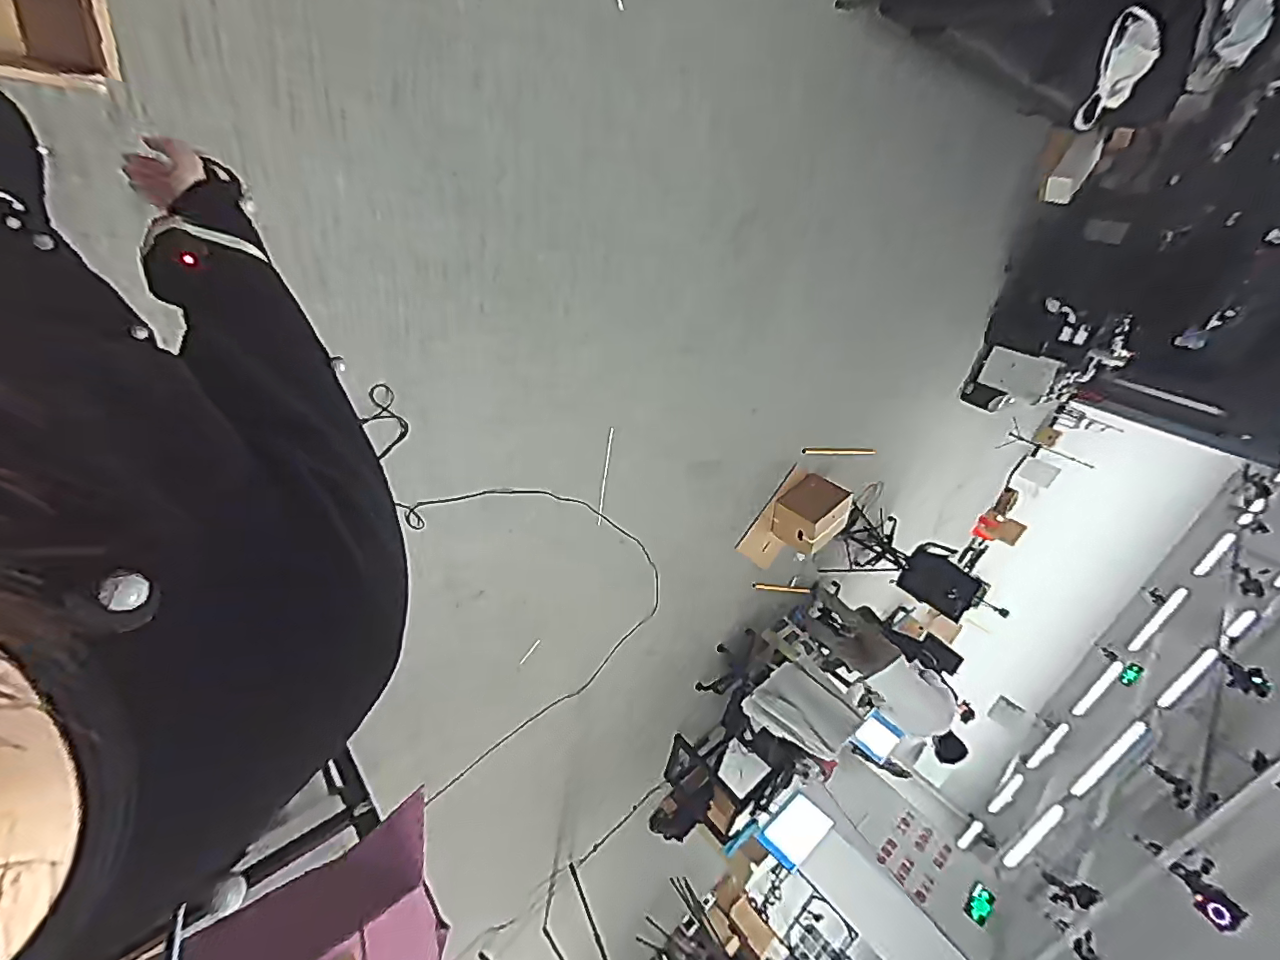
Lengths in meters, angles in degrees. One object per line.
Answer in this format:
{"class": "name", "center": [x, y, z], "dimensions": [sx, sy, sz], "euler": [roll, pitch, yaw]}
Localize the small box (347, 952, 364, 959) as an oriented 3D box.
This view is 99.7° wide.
{"class": "small box", "center": [-0.730, 1.305, 1.306], "dimensions": [0.168, 0.176, 0.179], "euler": [-20, 131, -37]}
